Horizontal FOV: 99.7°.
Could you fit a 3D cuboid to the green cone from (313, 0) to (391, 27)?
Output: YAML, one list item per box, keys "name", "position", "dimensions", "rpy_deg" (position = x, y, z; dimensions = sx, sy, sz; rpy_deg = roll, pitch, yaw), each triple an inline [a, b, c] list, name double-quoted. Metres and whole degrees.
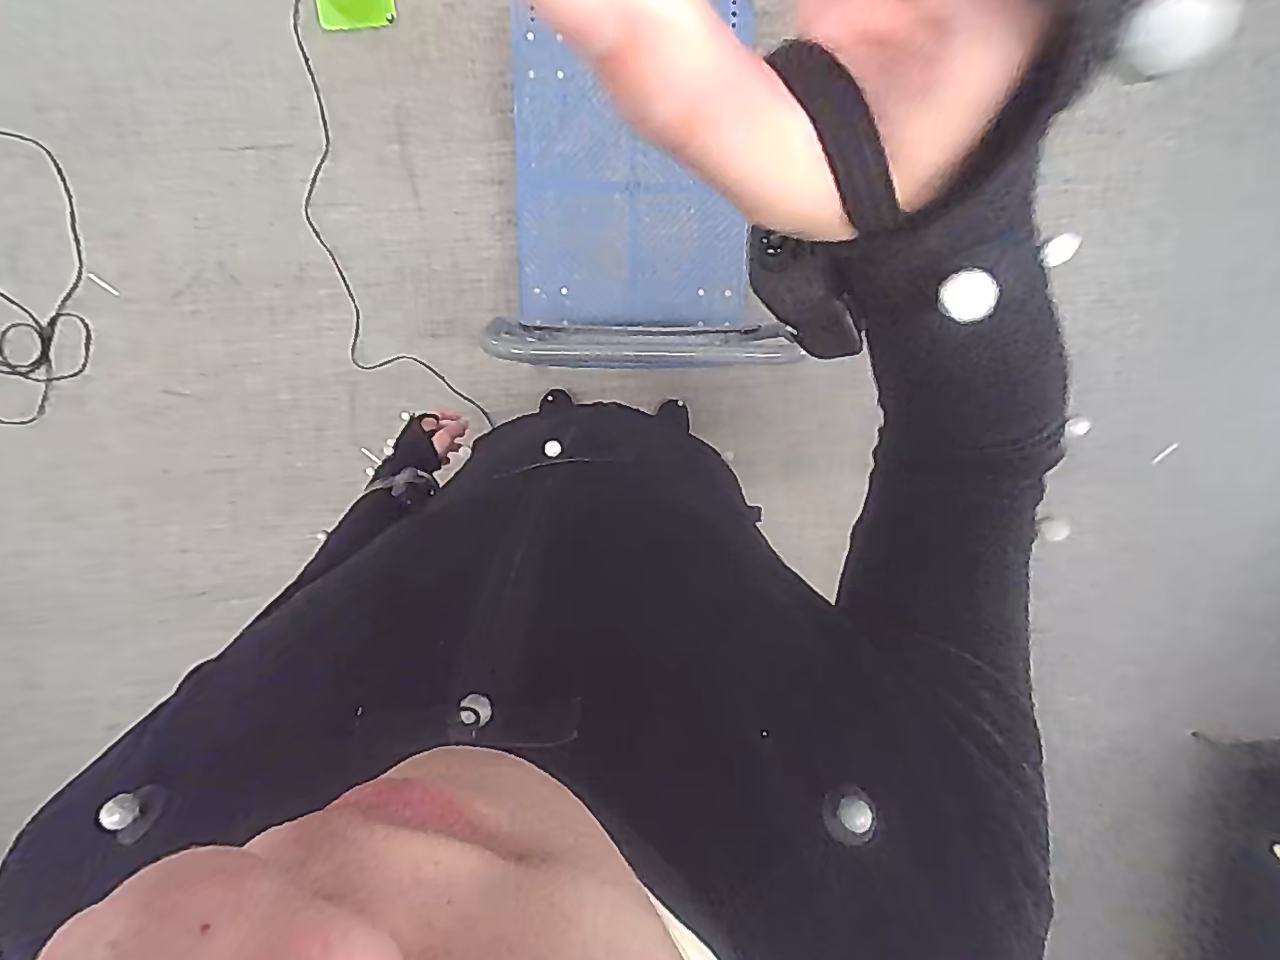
- name: "green cone"
  position: [-0.751, -1.259, 1.220]
  dimensions: [0.202, 0.368, 0.200]
  rpy_deg: [-6, 100, 1]
